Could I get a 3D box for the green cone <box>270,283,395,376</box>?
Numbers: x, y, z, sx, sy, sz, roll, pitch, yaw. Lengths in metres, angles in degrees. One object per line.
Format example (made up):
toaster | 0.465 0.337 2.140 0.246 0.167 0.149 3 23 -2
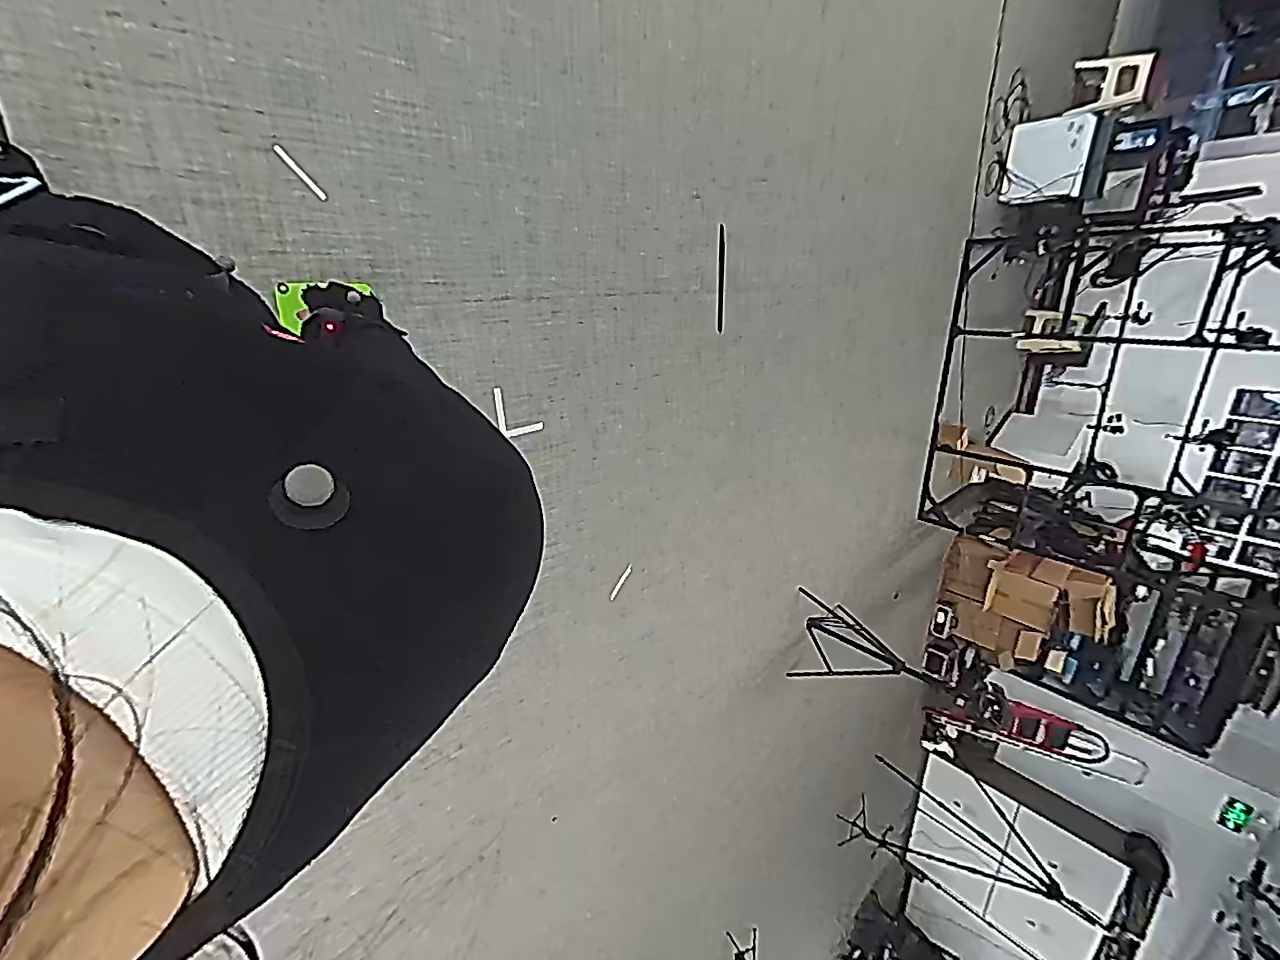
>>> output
green cone | -0.600 -0.305 1.123 0.202 0.368 0.200 -18 116 -40
